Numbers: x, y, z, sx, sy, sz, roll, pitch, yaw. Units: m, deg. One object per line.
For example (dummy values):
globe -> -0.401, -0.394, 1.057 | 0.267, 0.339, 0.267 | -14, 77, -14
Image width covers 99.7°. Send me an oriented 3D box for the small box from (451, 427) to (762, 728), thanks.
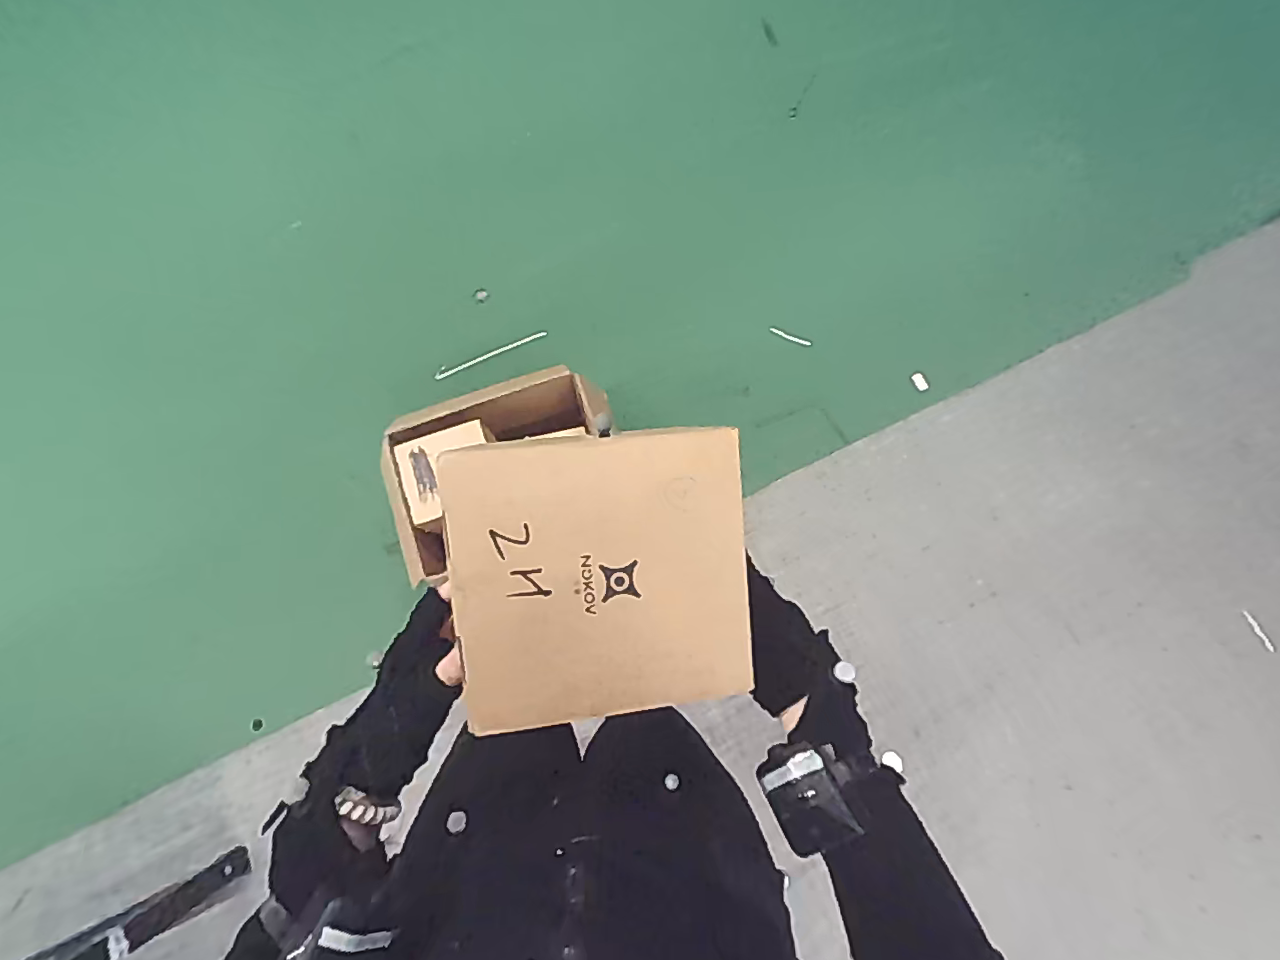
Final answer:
small box -> -0.027, 0.049, 0.397 | 0.179, 0.176, 0.168 | -6, 96, -8
